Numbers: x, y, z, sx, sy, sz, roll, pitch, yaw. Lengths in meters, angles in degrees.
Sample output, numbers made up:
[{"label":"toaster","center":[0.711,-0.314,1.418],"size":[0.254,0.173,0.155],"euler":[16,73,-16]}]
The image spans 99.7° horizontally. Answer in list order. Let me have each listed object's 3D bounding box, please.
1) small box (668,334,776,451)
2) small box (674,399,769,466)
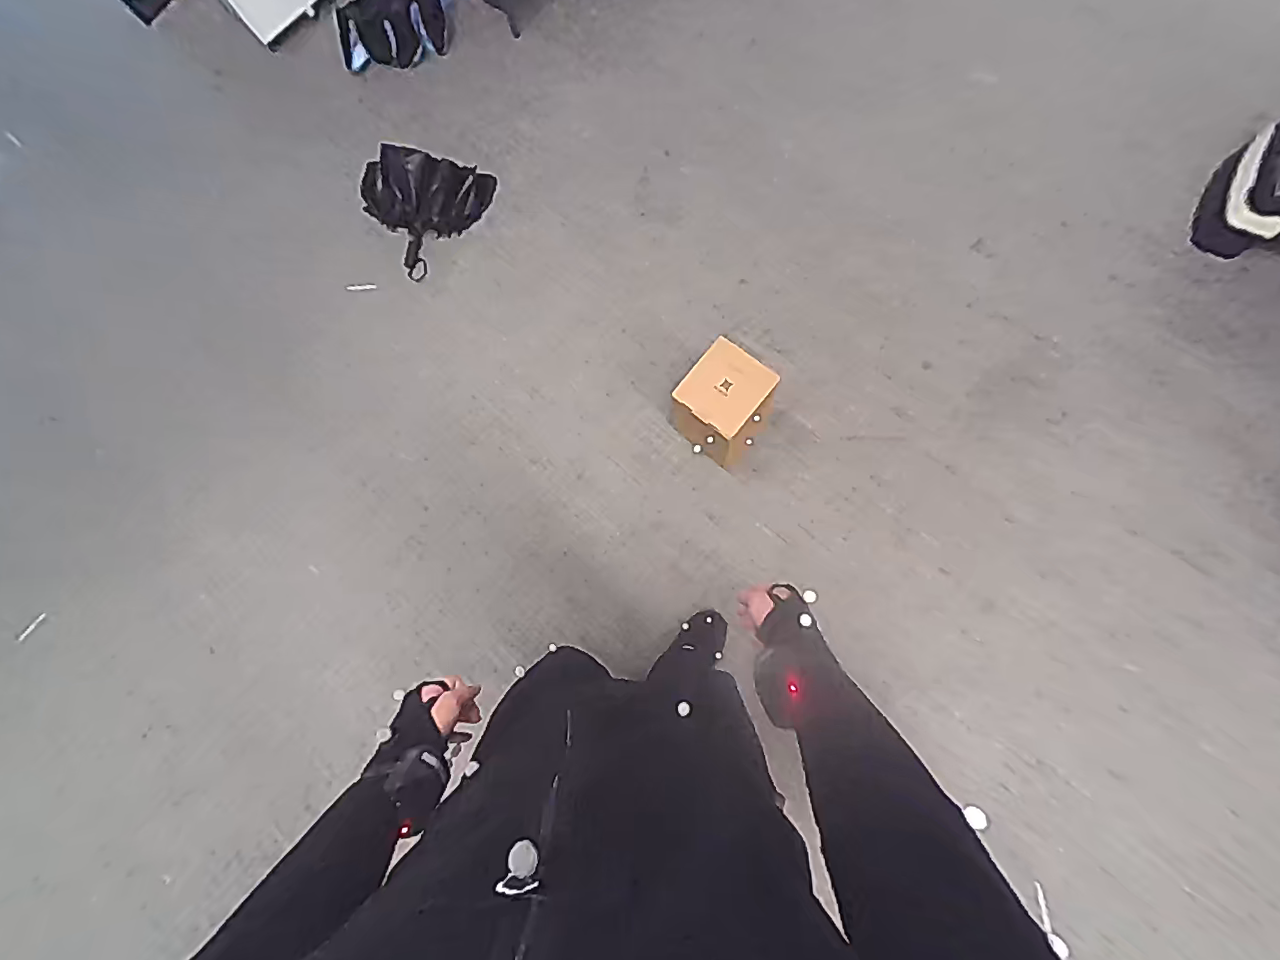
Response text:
[{"label":"small box","center":[0.184,-0.189,1.227],"size":[0.168,0.176,0.179],"euler":[37,85,11]},{"label":"small box","center":[0.205,-0.161,1.386],"size":[0.168,0.176,0.179],"euler":[39,87,13]}]
